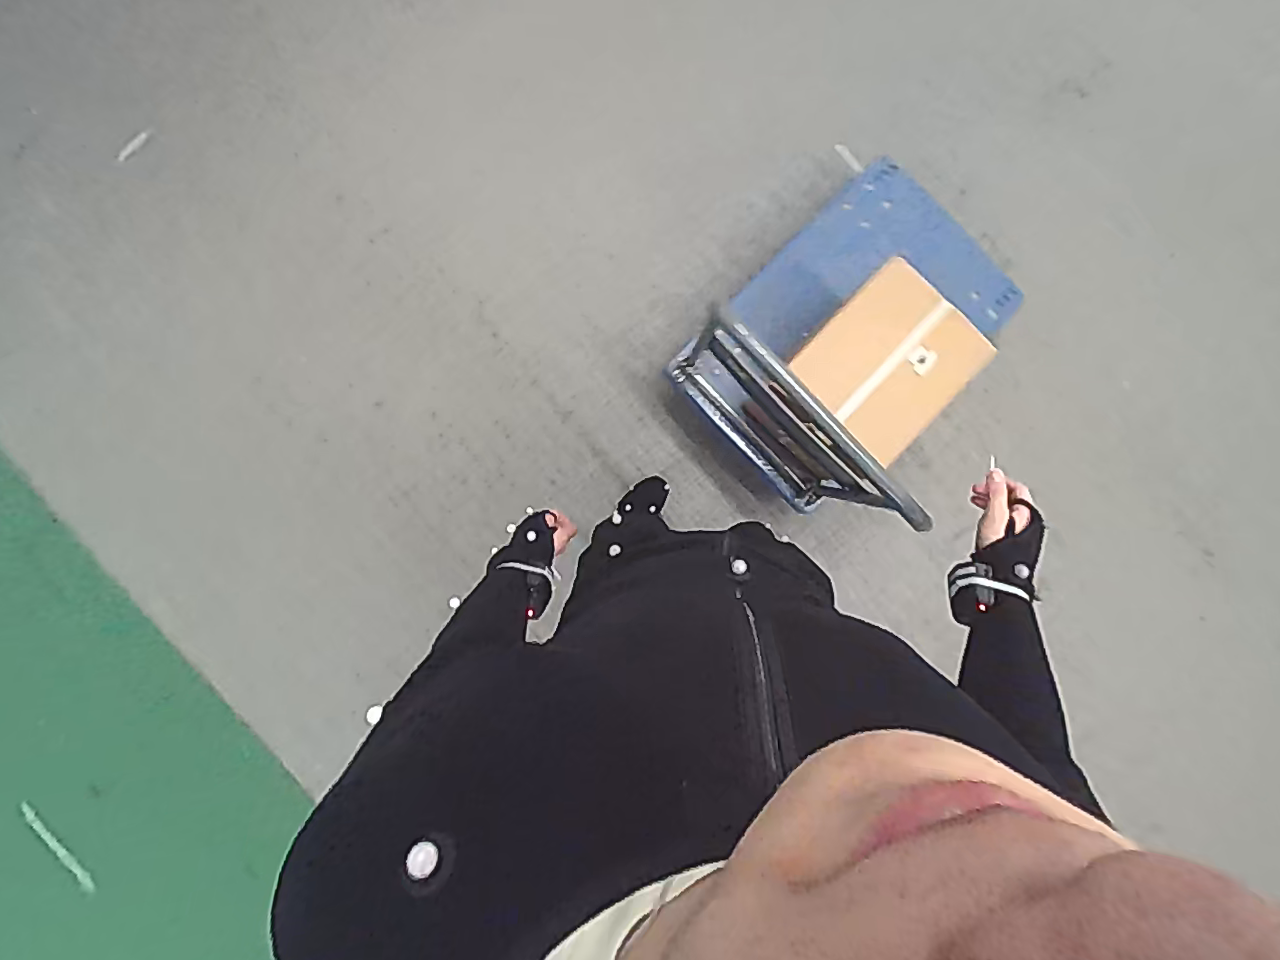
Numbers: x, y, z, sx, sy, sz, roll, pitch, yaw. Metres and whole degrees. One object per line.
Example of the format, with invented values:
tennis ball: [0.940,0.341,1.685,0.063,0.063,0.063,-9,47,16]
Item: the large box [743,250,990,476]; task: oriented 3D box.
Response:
large box: [0.523,-0.255,1.326,0.320,0.320,0.408,44,88,-2]
